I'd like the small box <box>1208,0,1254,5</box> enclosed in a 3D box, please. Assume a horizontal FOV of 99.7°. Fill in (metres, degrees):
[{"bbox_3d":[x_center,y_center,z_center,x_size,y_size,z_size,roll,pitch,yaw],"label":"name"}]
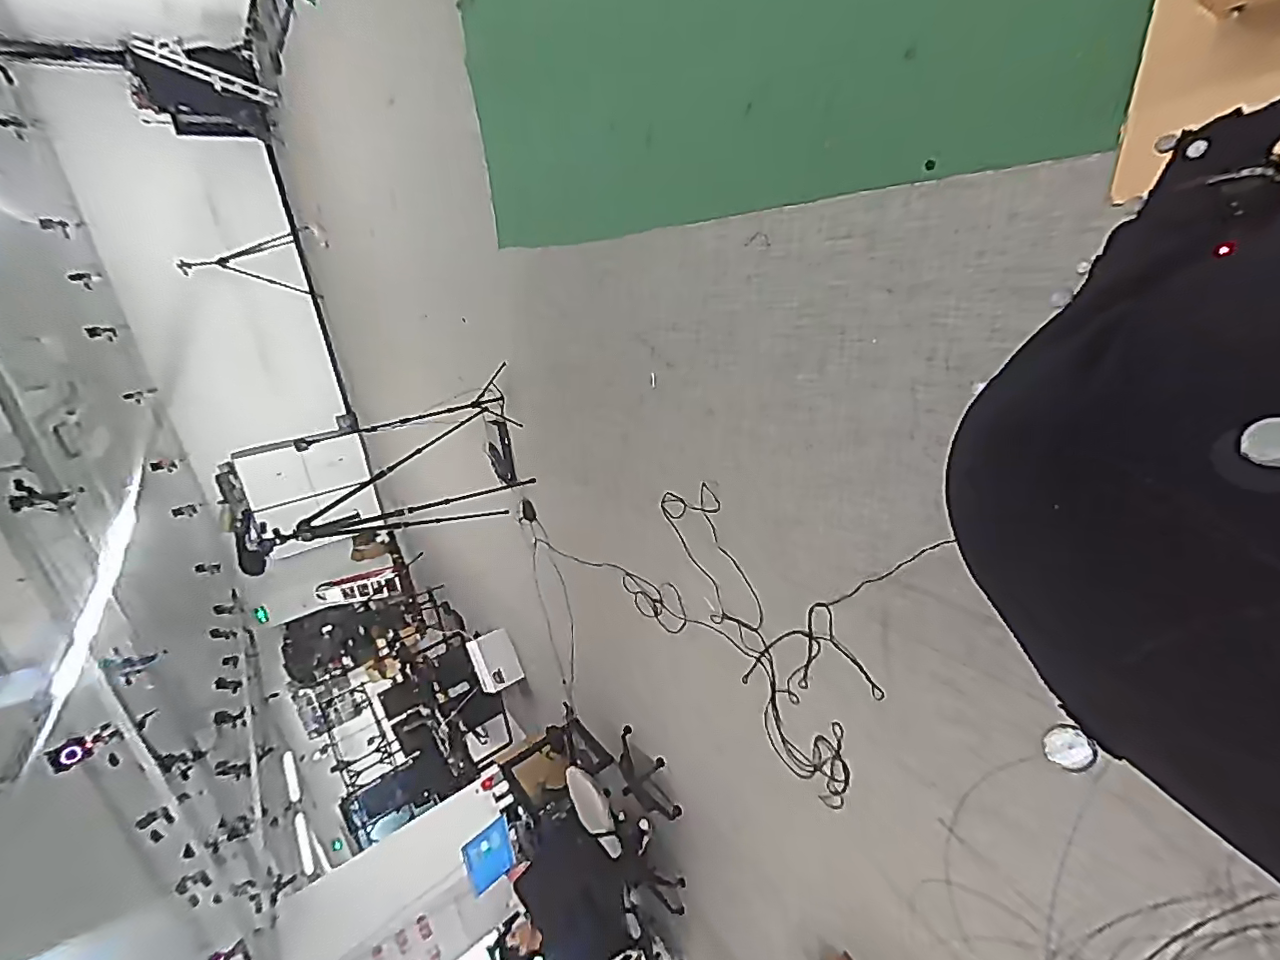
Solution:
[{"bbox_3d":[0.948,-0.816,0.770,0.168,0.176,0.179,26,127,48],"label":"small box"}]
